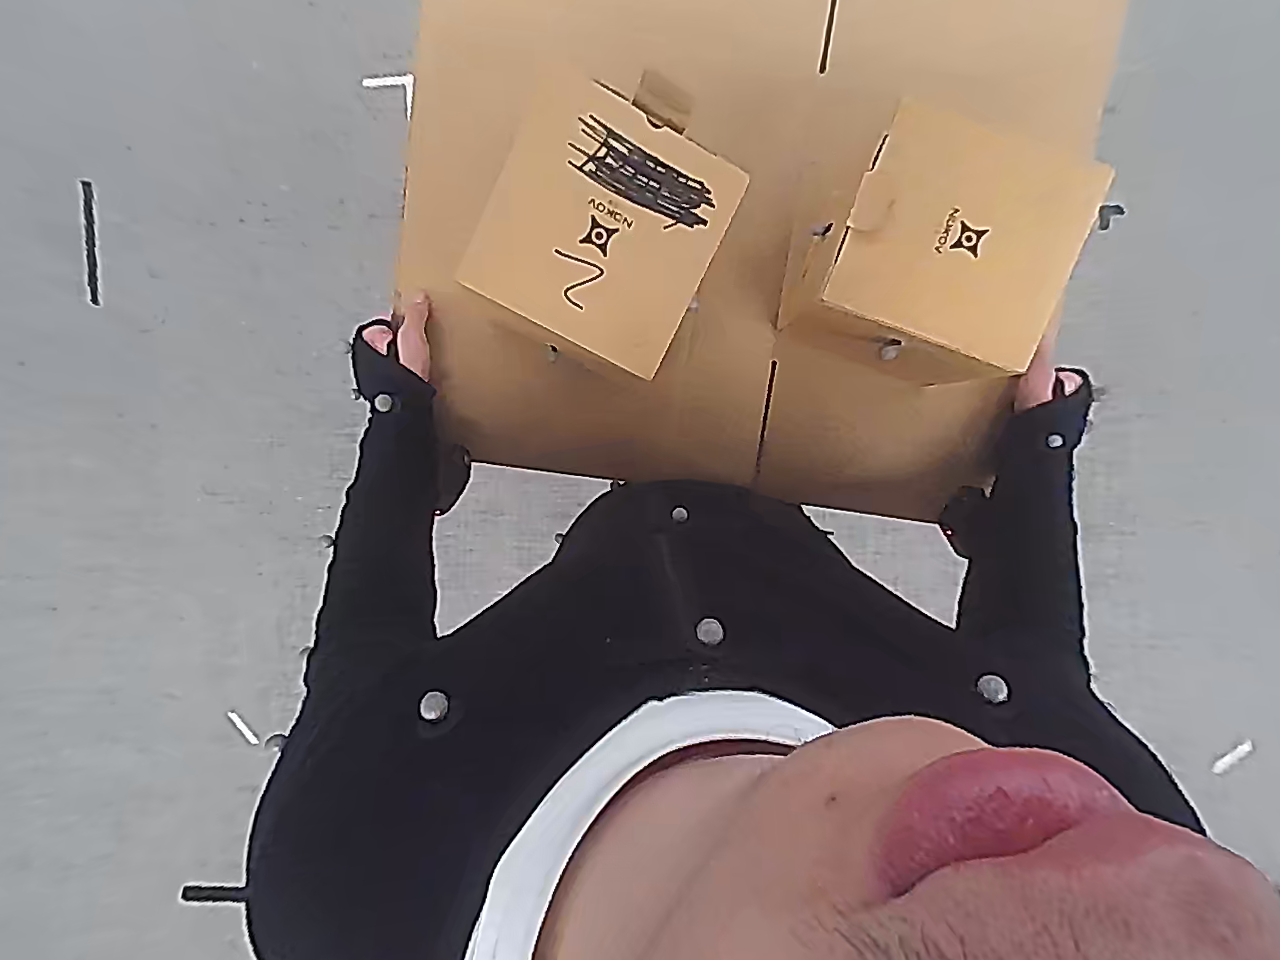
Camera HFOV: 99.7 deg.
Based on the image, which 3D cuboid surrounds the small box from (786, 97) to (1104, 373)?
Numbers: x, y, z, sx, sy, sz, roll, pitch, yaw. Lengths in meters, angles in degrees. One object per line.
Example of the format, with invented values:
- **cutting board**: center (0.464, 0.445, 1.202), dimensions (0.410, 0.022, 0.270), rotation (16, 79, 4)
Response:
- **small box**: center (0.262, -0.208, 0.515), dimensions (0.179, 0.176, 0.168), rotation (20, 97, 2)
